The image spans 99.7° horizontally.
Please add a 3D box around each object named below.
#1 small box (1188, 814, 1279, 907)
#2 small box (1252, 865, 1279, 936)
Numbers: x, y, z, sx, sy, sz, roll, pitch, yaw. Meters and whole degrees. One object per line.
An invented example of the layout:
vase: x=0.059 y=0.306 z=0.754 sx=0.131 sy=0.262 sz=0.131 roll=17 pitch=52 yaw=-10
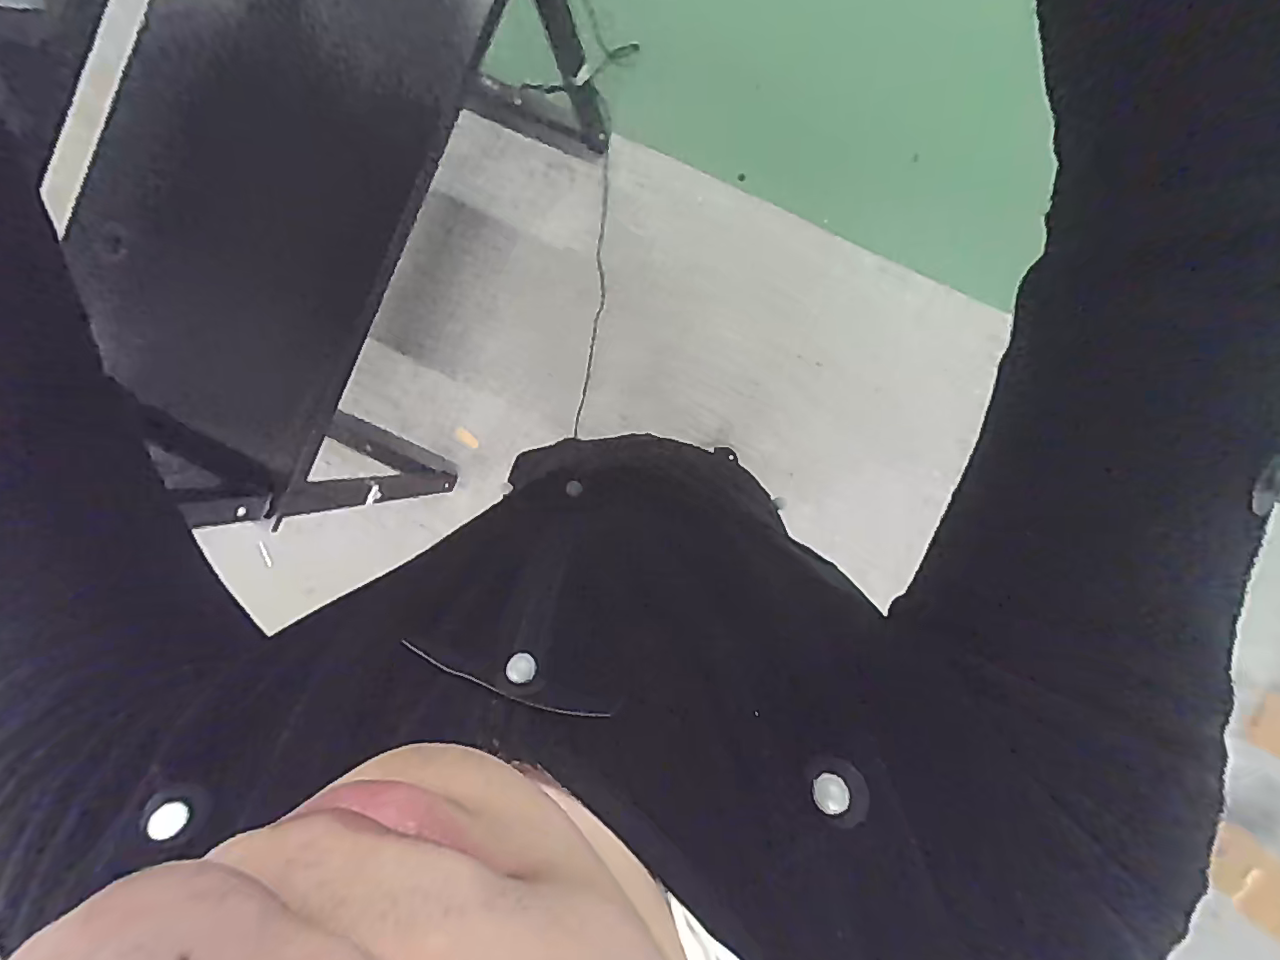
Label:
small box: x=1.612 y=1.015 z=1.404 sx=0.179 sy=0.176 sz=0.168 roll=34 pitch=96 yaw=5
small box: x=1.597 y=1.032 z=1.243 sx=0.168 sy=0.176 sz=0.179 roll=32 pitch=94 yaw=4
